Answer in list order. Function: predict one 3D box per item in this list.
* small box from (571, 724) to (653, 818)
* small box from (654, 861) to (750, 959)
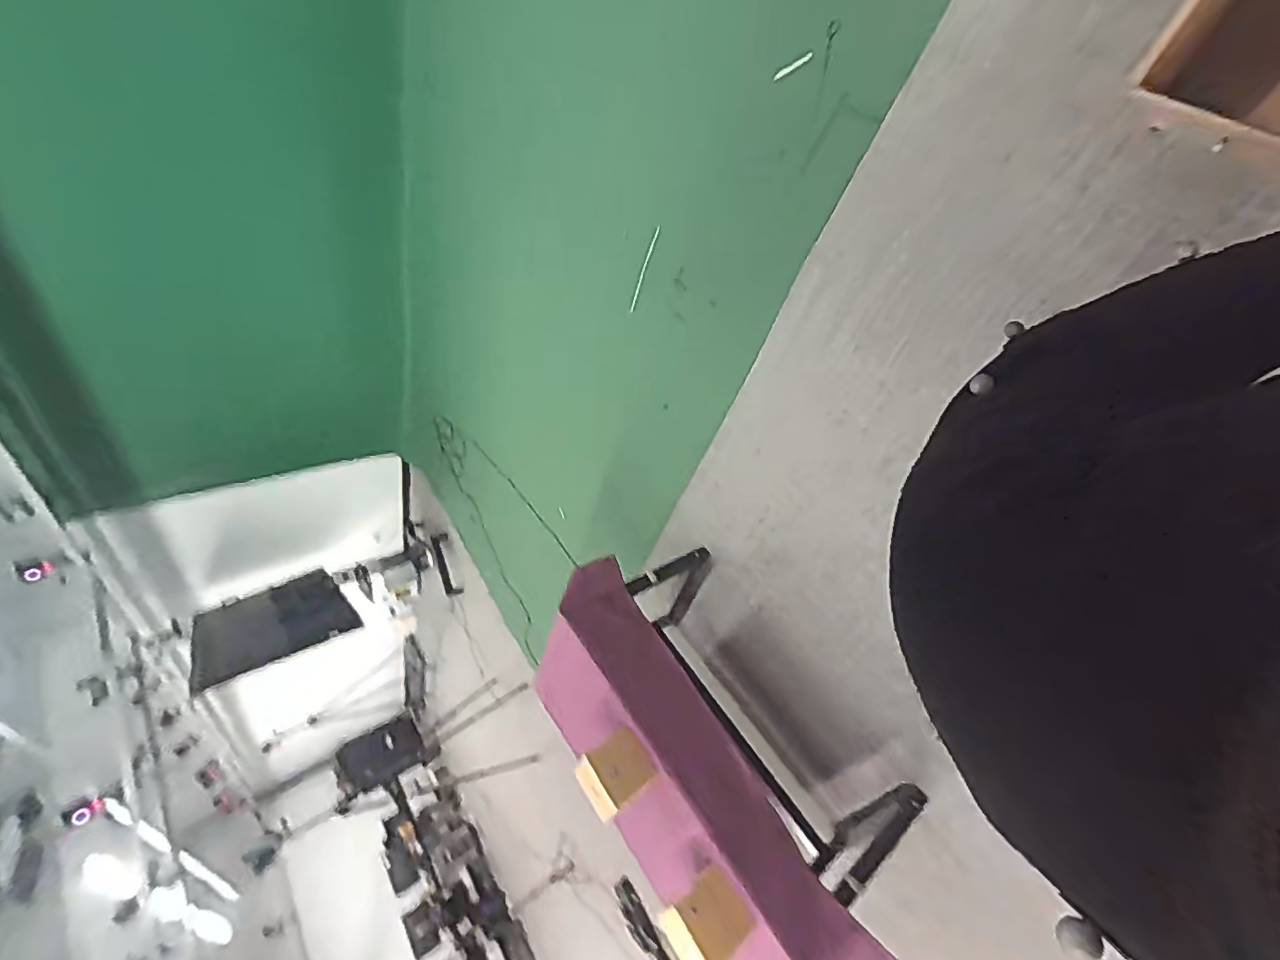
[{"bbox_3d":[-0.085,0.901,1.683,0.179,0.176,0.168,50,138,26],"label":"small box"},{"bbox_3d":[0.171,1.200,1.485,0.179,0.176,0.168,50,139,28],"label":"small box"}]
